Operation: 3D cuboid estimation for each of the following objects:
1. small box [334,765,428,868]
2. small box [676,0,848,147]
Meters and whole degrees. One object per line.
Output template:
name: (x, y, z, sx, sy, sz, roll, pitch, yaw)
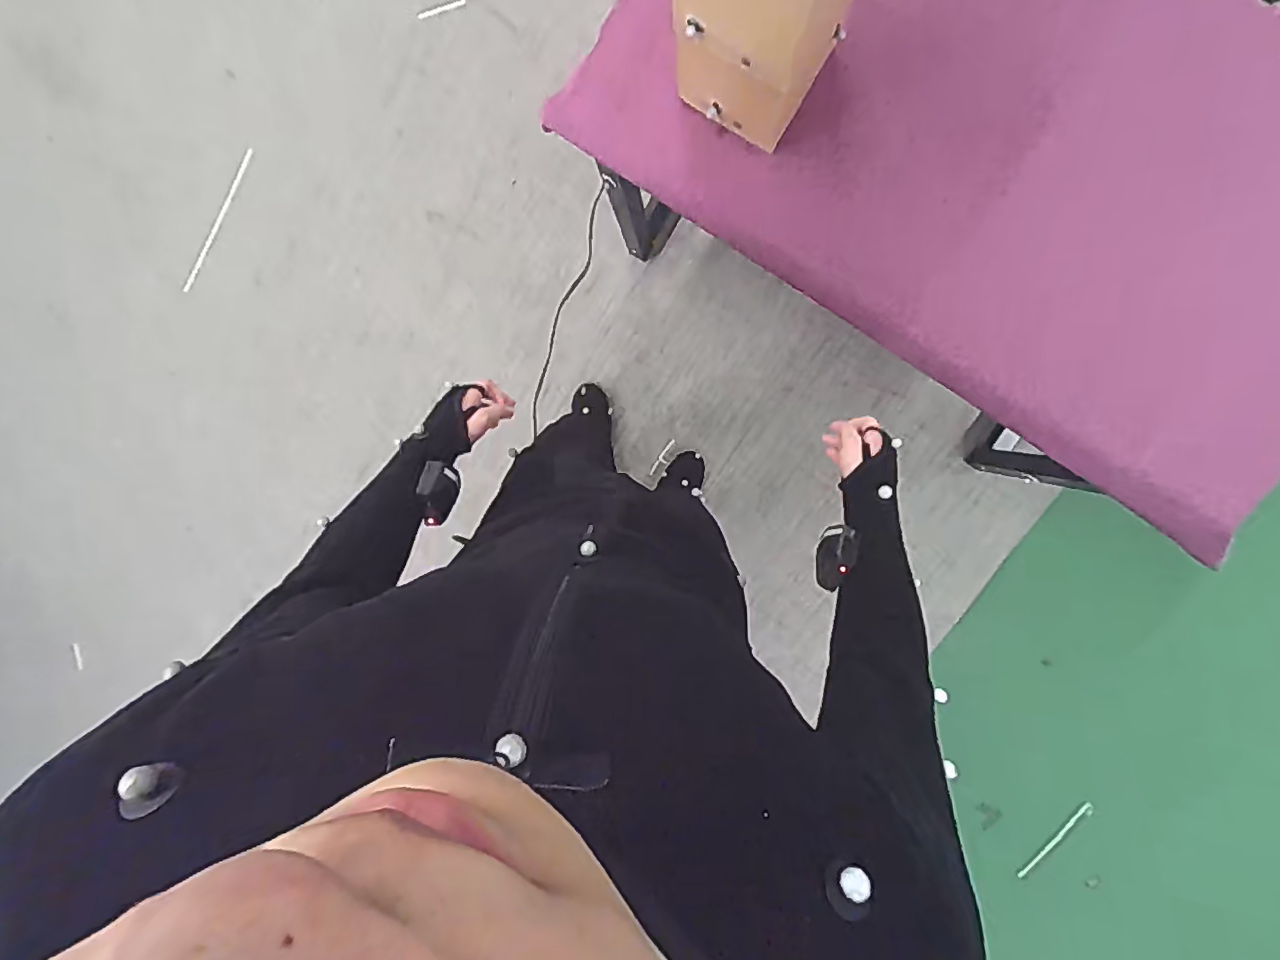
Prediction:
small box: (-0.801, 1.046, 1.693, 0.168, 0.176, 0.179, 39, 99, -1)
small box: (0.160, -0.597, 0.719, 0.168, 0.176, 0.179, 31, 99, 1)
